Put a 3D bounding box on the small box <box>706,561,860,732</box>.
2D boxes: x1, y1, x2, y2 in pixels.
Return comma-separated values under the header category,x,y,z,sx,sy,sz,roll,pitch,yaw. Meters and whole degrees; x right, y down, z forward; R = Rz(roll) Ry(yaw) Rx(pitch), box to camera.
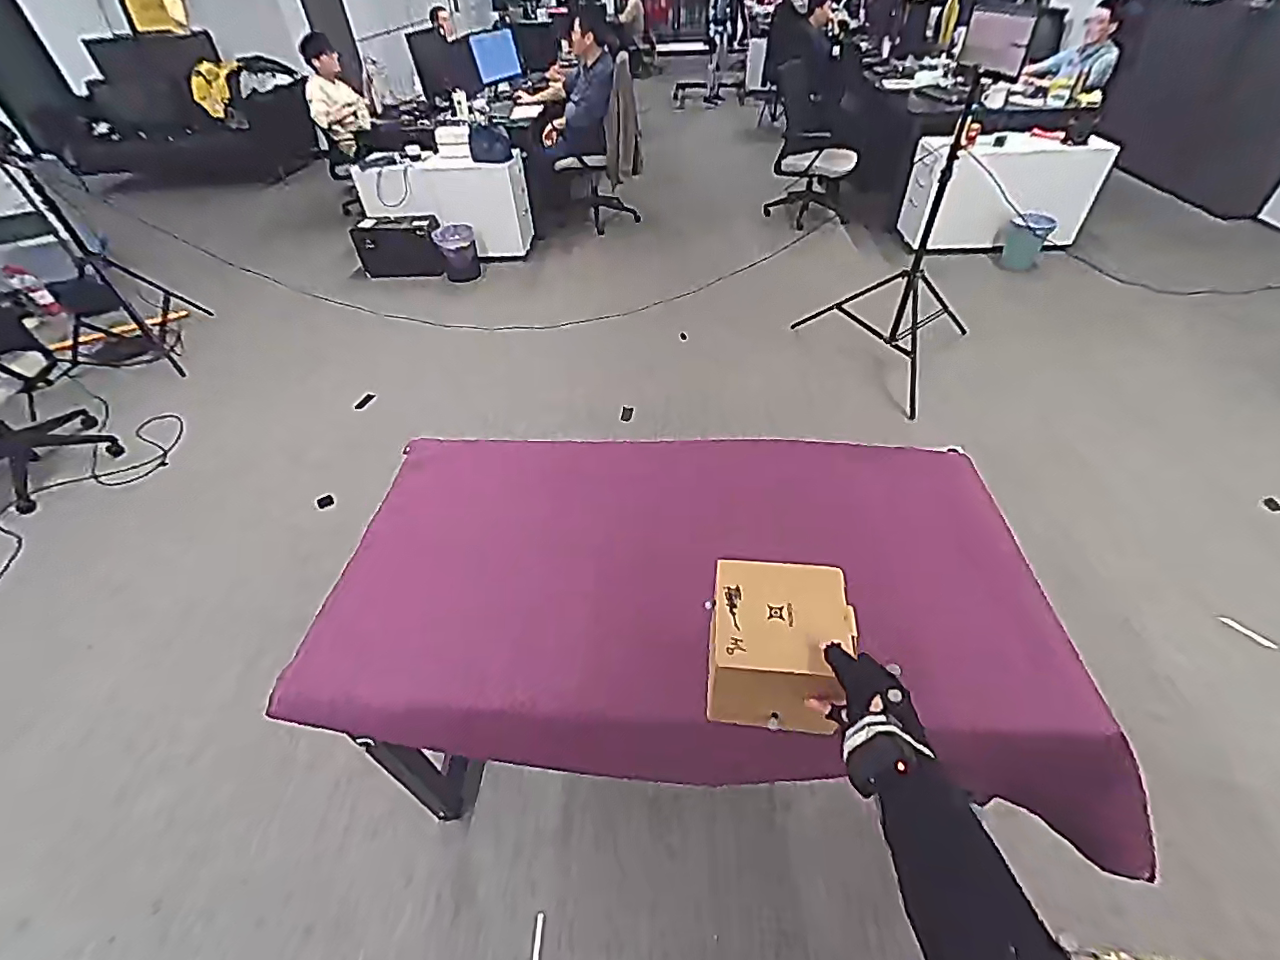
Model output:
category,x,y,z,sx,sy,sz,roll,pitch,yaw
small box,0.190,0.237,0.765,0.179,0.176,0.168,4,43,7
